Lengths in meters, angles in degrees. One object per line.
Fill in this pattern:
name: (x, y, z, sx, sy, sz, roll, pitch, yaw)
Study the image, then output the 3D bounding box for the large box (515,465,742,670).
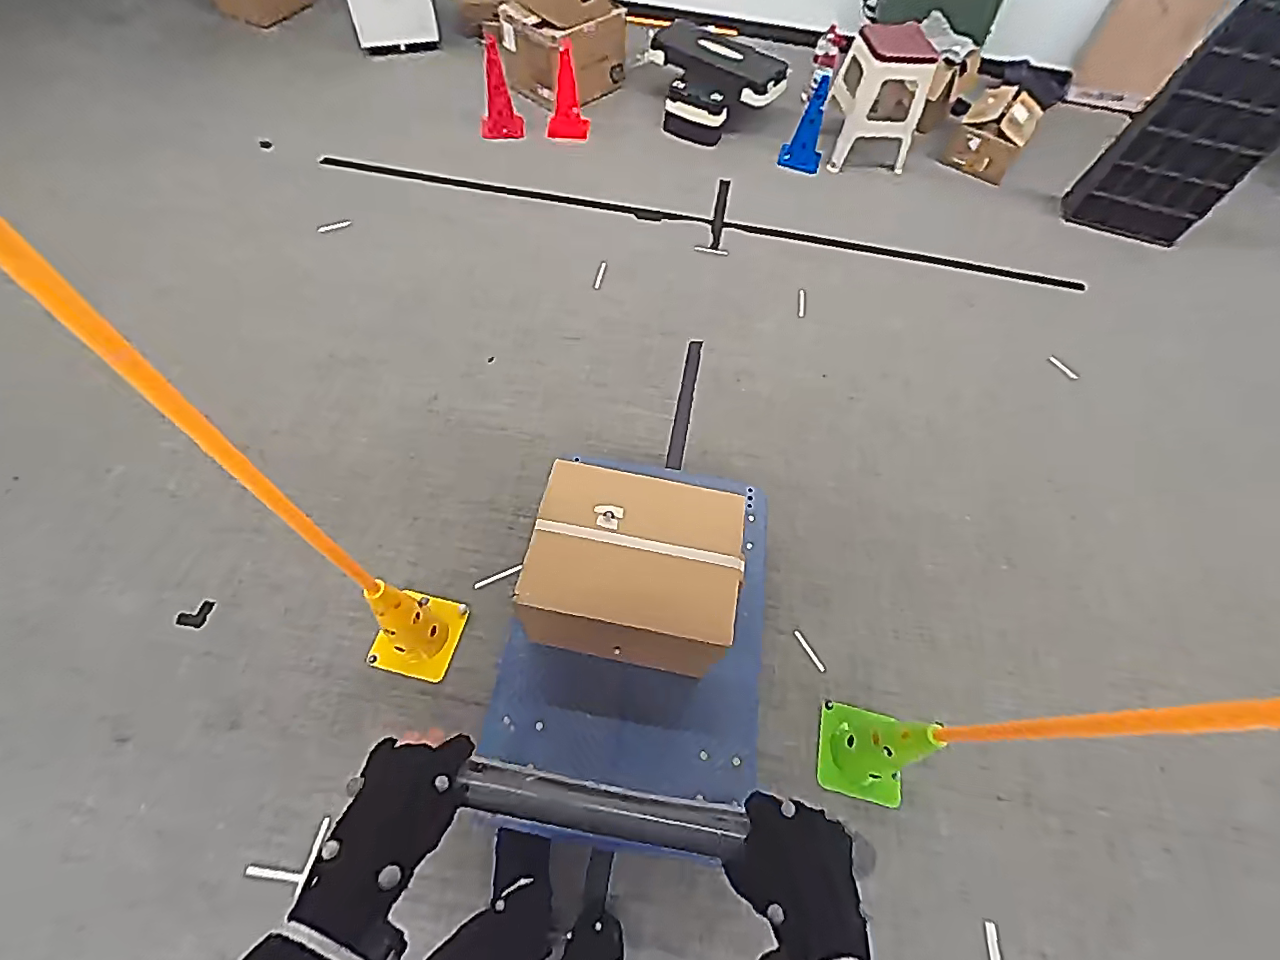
large box: (-0.015, 0.203, 1.185, 0.408, 0.320, 0.320, 11, 60, 3)

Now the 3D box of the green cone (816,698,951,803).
green cone: (0.551, 0.576, 1.180, 0.202, 0.368, 0.200, 15, 60, 3)
